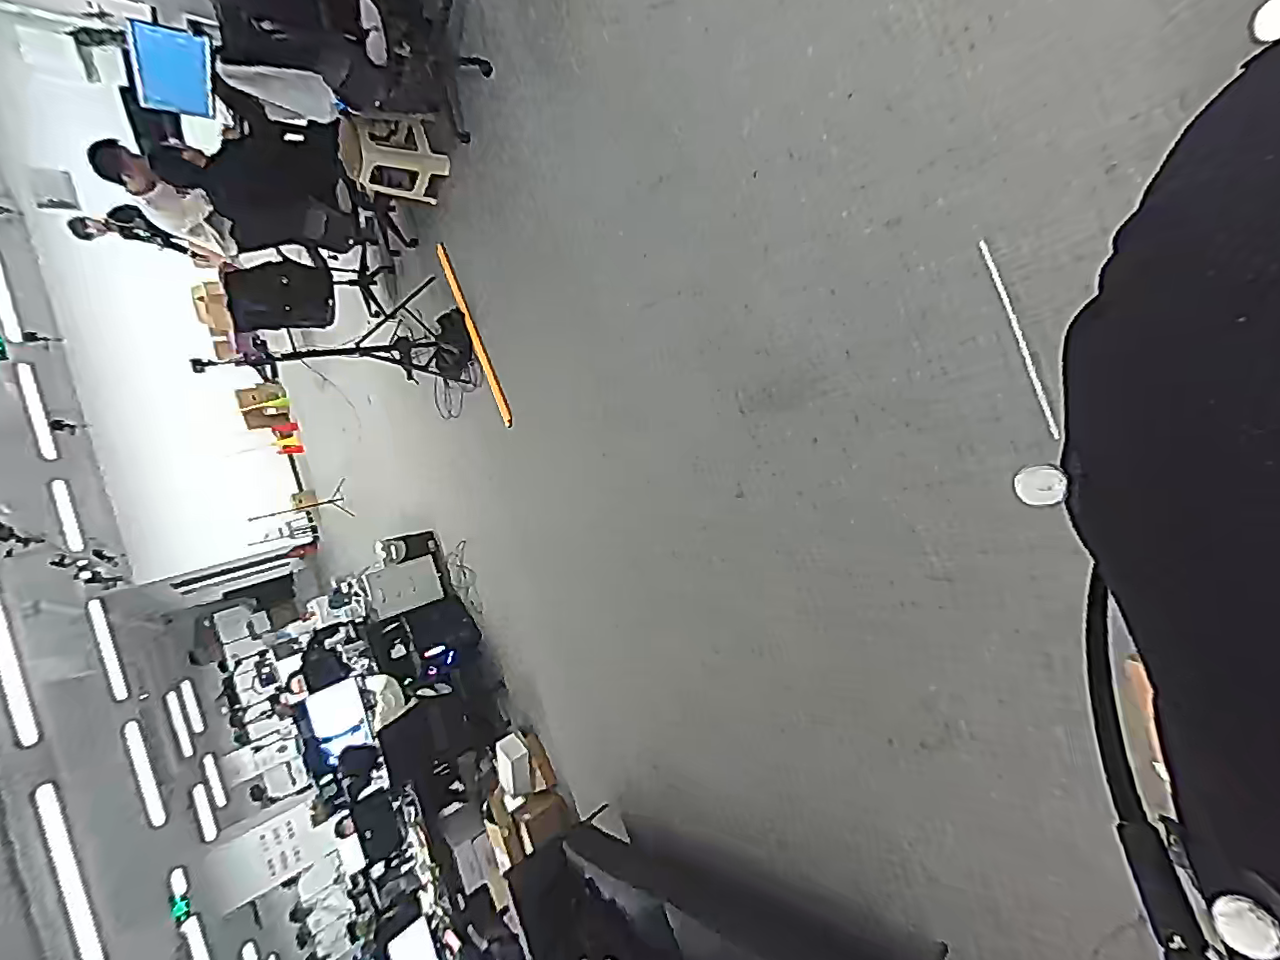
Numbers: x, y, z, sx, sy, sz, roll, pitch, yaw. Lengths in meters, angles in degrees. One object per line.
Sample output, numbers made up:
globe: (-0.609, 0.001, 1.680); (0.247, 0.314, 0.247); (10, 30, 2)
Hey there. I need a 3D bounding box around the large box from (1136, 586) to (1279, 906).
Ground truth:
large box: (0.919, 0.308, 0.620); (0.320, 0.408, 0.320); (156, 99, -78)
